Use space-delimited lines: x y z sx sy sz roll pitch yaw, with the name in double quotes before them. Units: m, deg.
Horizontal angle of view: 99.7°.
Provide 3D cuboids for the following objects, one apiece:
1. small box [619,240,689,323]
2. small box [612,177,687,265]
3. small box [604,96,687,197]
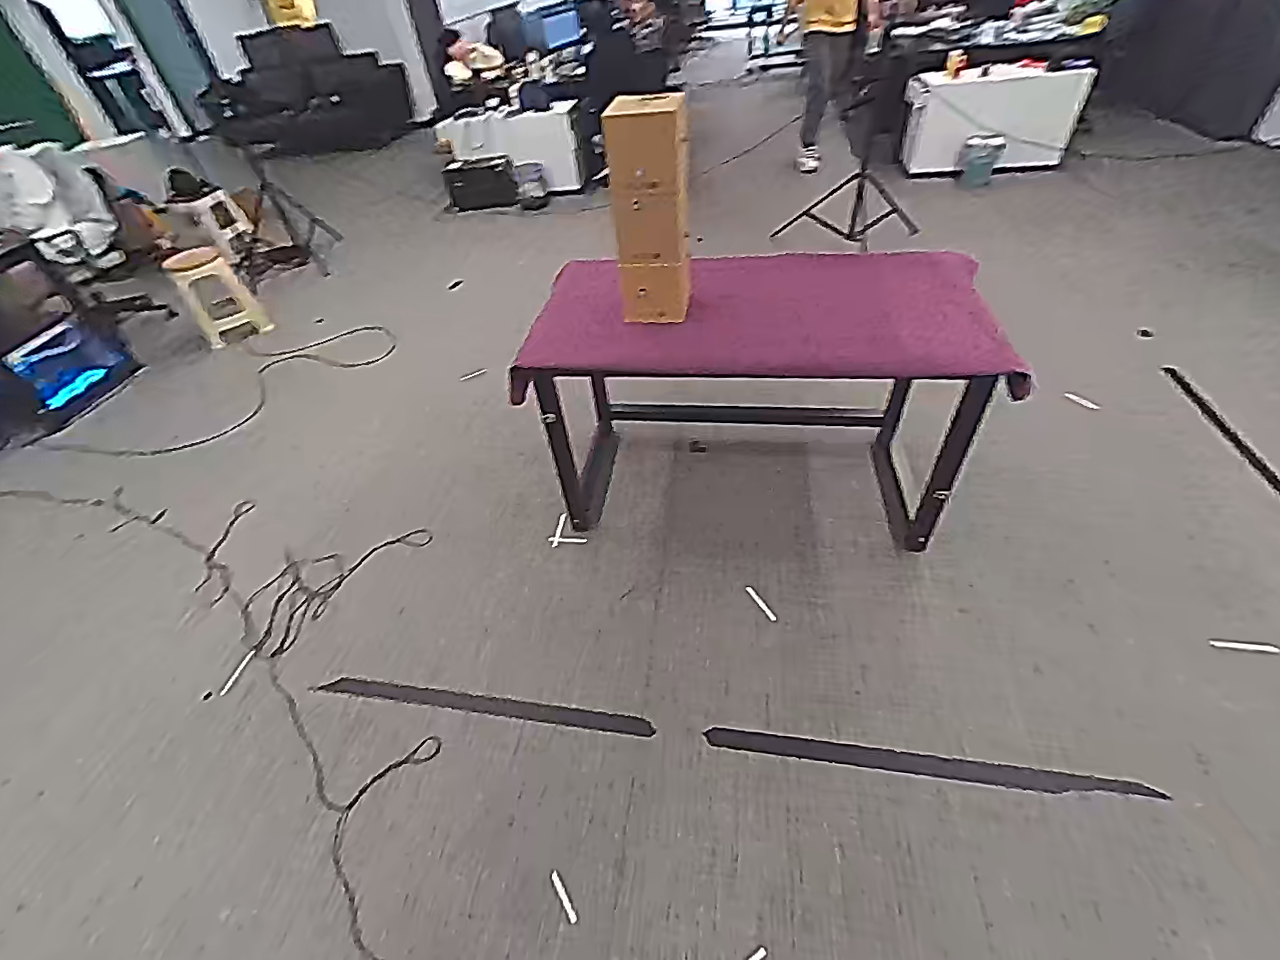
"small box" 0.046 -0.550 1.503 0.168 0.176 0.179 3 45 11
"small box" 0.032 -0.670 1.393 0.168 0.176 0.179 3 44 10
"small box" 0.021 -0.785 1.275 0.168 0.176 0.179 3 46 11
